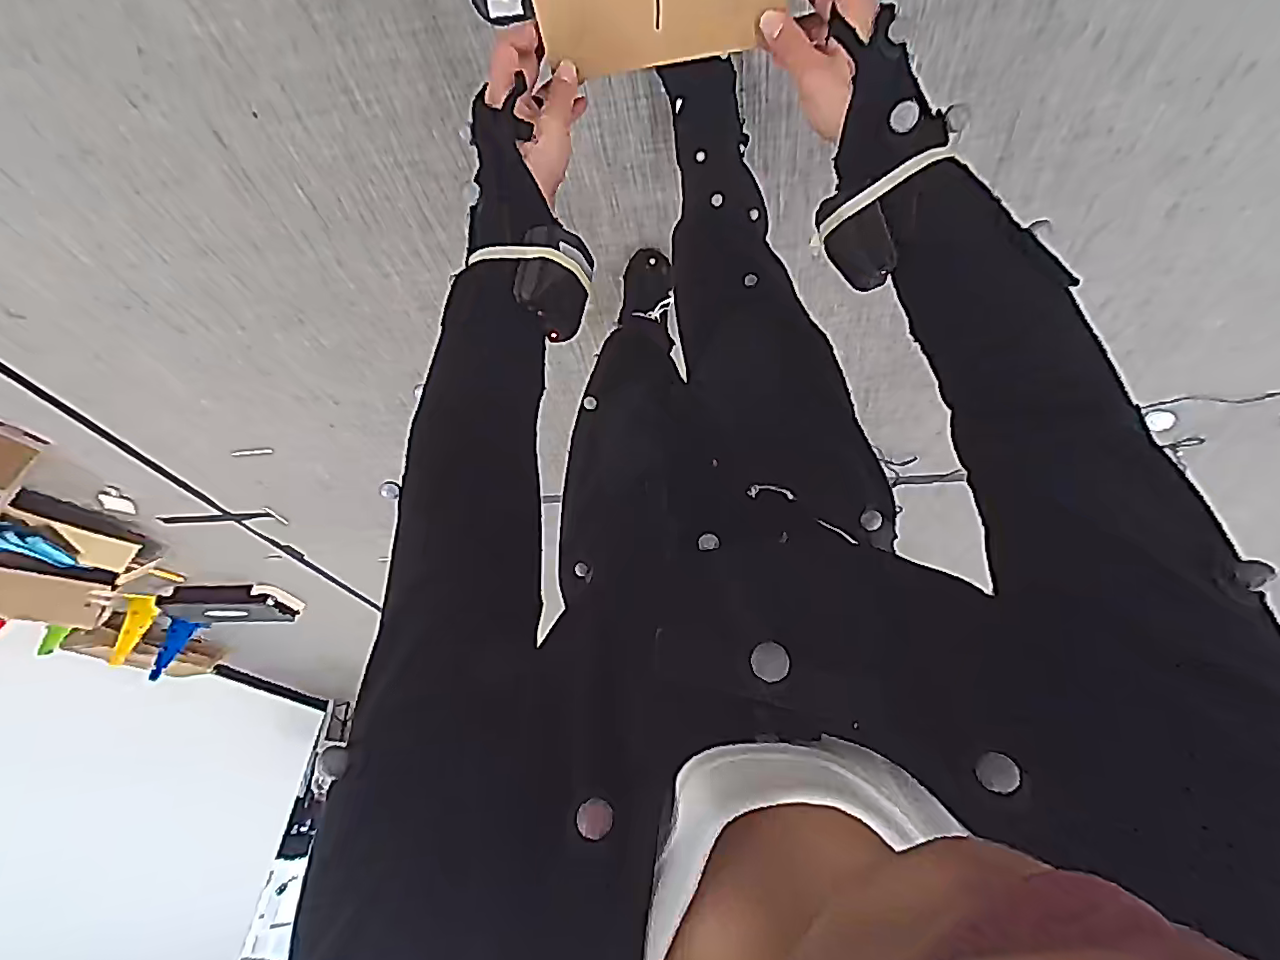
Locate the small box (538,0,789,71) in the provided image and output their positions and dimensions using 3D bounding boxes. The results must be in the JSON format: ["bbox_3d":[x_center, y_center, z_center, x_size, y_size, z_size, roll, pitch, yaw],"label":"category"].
[{"bbox_3d":[0.010,-0.411,0.351,0.168,0.176,0.179,-2,146,10],"label":"small box"}]

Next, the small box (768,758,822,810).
[{"bbox_3d":[0.606,1.199,2.132,0.179,0.176,0.168,-3,145,9],"label":"small box"}]
